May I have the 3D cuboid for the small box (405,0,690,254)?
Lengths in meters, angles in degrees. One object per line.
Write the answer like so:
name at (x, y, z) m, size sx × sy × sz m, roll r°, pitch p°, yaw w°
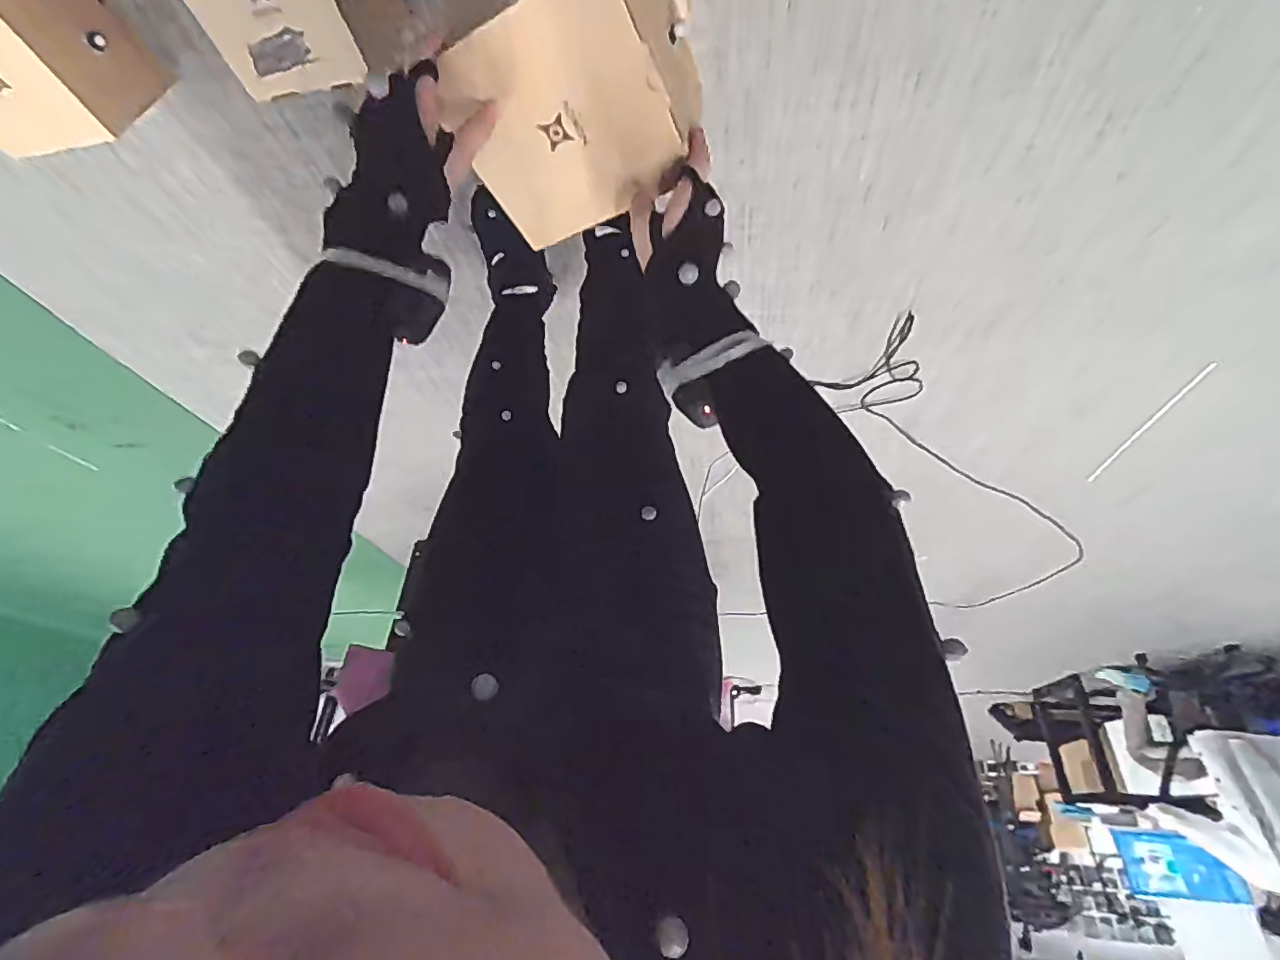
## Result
small box at (-0.064, -0.345, 0.481) m, size 0.179 × 0.176 × 0.168 m, roll -11°, pitch 146°, yaw 25°

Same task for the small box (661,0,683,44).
small box at (-0.046, -0.582, 0.576) m, size 0.179 × 0.176 × 0.168 m, roll -3°, pitch 149°, yaw 11°

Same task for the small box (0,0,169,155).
small box at (-0.776, -0.562, 0.706) m, size 0.179 × 0.176 × 0.168 m, roll -2°, pitch 148°, yaw 10°

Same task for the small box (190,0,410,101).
small box at (-0.397, -0.581, 0.622) m, size 0.168 × 0.176 × 0.179 m, roll -1°, pitch 148°, yaw 10°
